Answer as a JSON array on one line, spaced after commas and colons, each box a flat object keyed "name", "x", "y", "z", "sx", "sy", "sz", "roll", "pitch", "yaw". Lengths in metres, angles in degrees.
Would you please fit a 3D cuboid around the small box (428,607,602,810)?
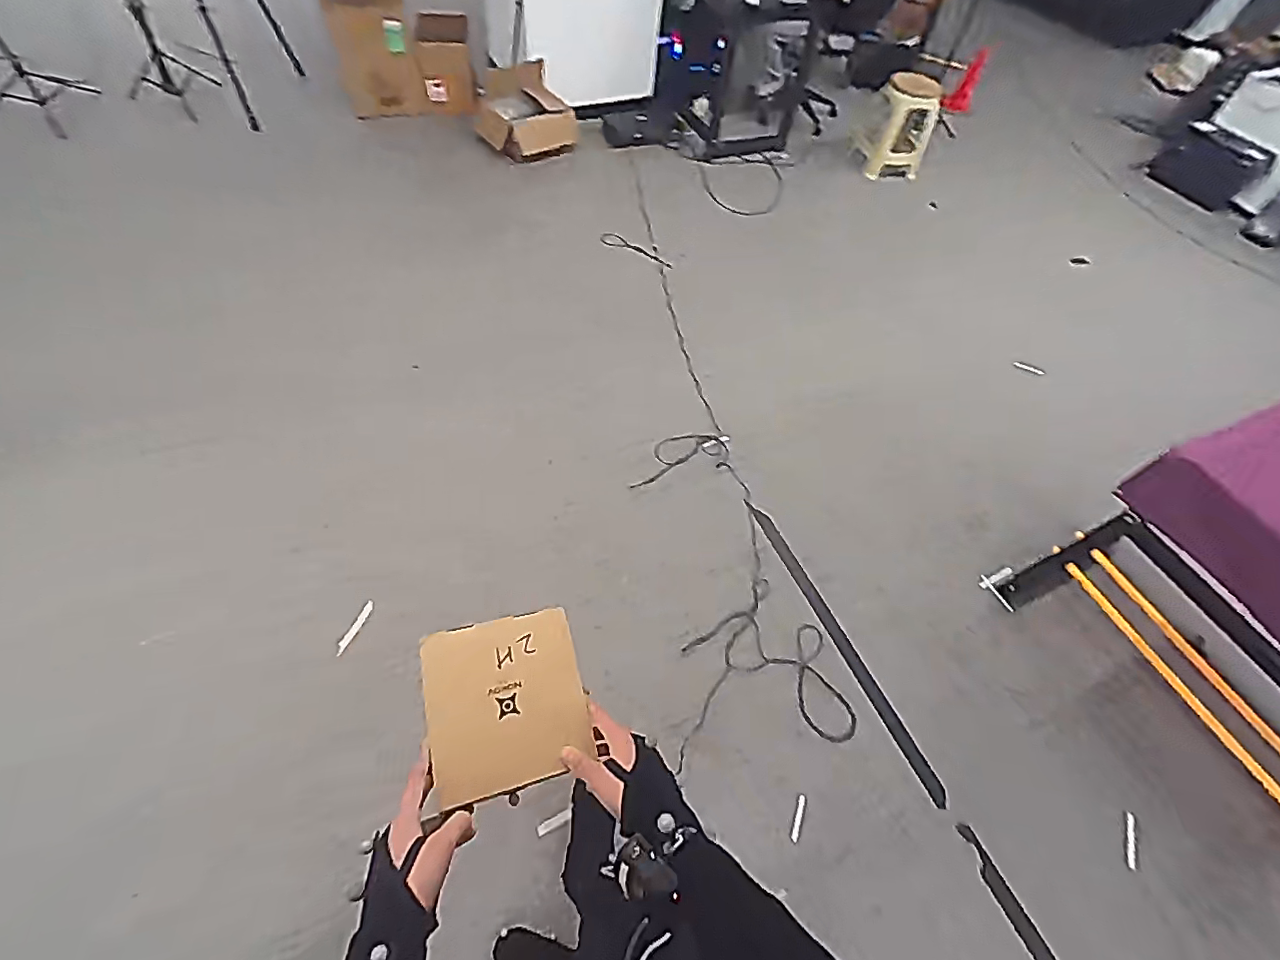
[{"name": "small box", "x": -0.155, "y": 0.275, "z": 0.649, "sx": 0.168, "sy": 0.176, "sz": 0.179, "roll": -7, "pitch": 61, "yaw": -21}]
